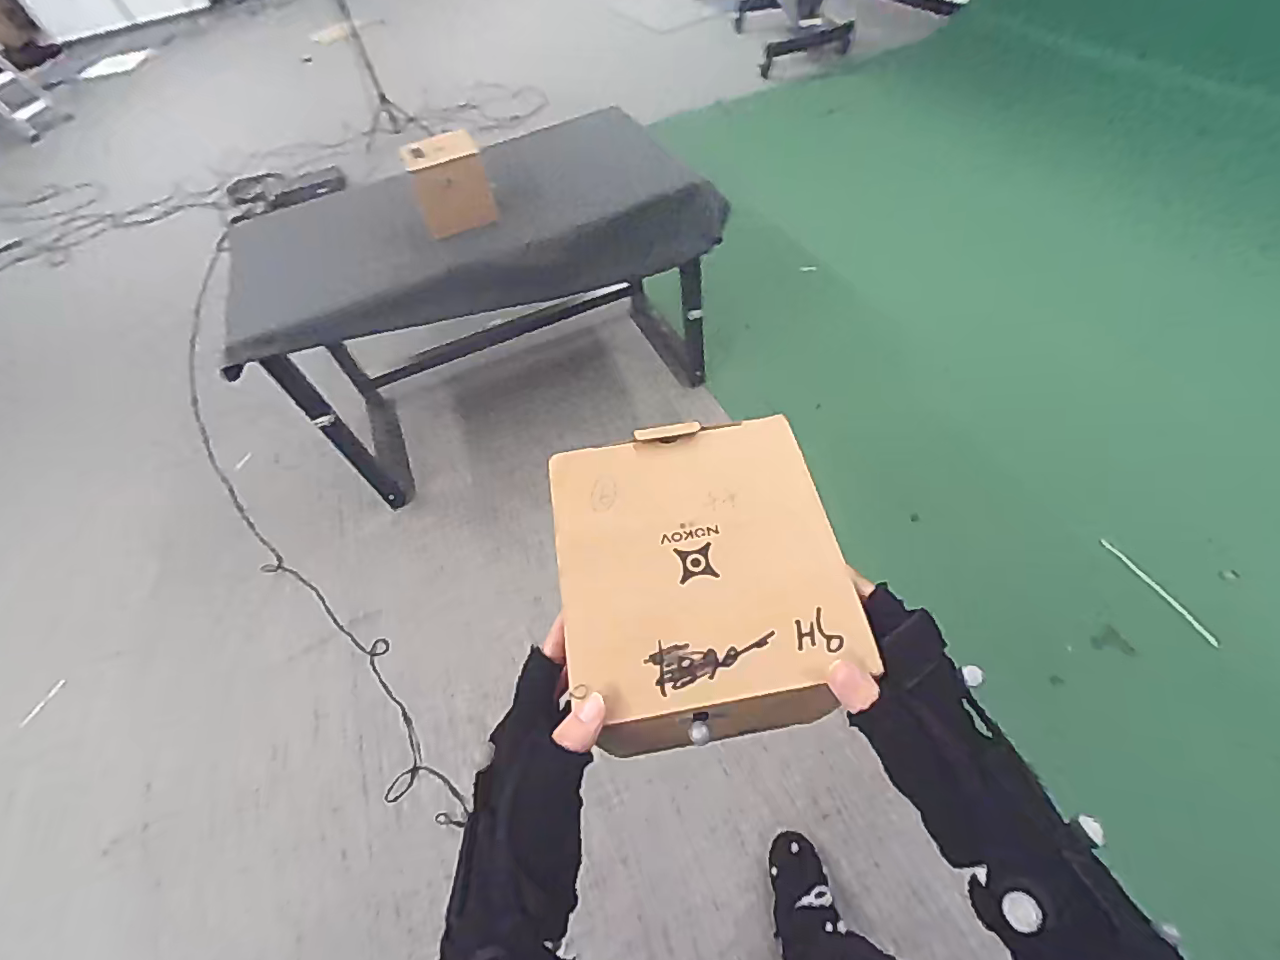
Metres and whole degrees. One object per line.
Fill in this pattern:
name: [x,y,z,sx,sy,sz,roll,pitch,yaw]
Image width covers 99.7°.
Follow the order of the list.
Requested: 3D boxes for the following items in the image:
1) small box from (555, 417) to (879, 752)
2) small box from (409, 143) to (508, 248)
small box: [0.040,0.084,0.404,0.168,0.176,0.179,-12,58,-4]
small box: [-0.462,-0.725,1.386,0.179,0.176,0.168,-22,53,-9]
